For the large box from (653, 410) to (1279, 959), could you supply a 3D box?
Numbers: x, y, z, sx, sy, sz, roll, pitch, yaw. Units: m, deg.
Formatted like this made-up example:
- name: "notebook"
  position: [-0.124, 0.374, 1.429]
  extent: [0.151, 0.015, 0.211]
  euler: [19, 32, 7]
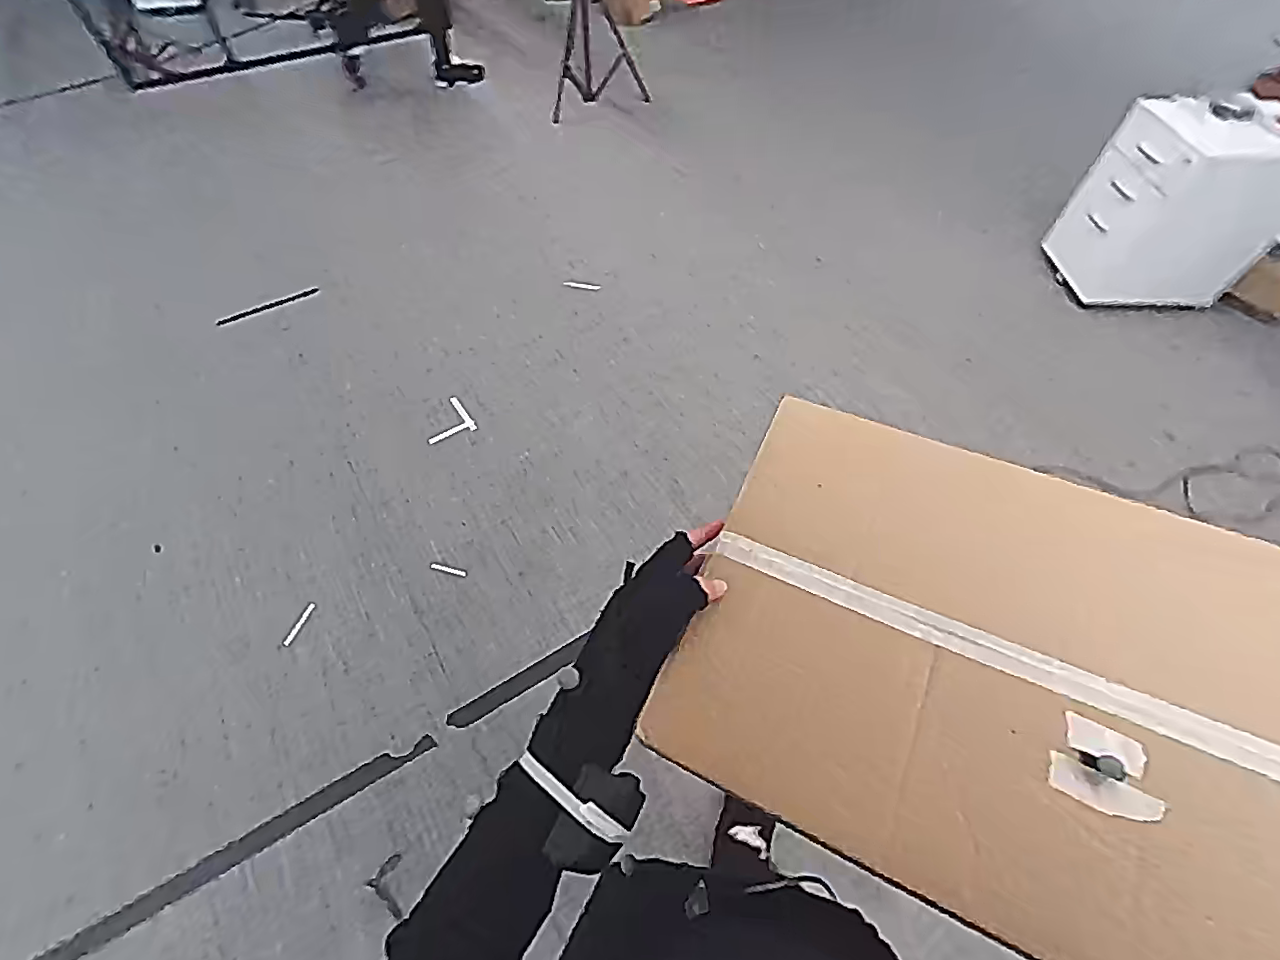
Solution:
- name: "large box"
  position: [0.261, 0.191, 0.517]
  extent: [0.408, 0.320, 0.320]
  euler: [21, 67, 17]
